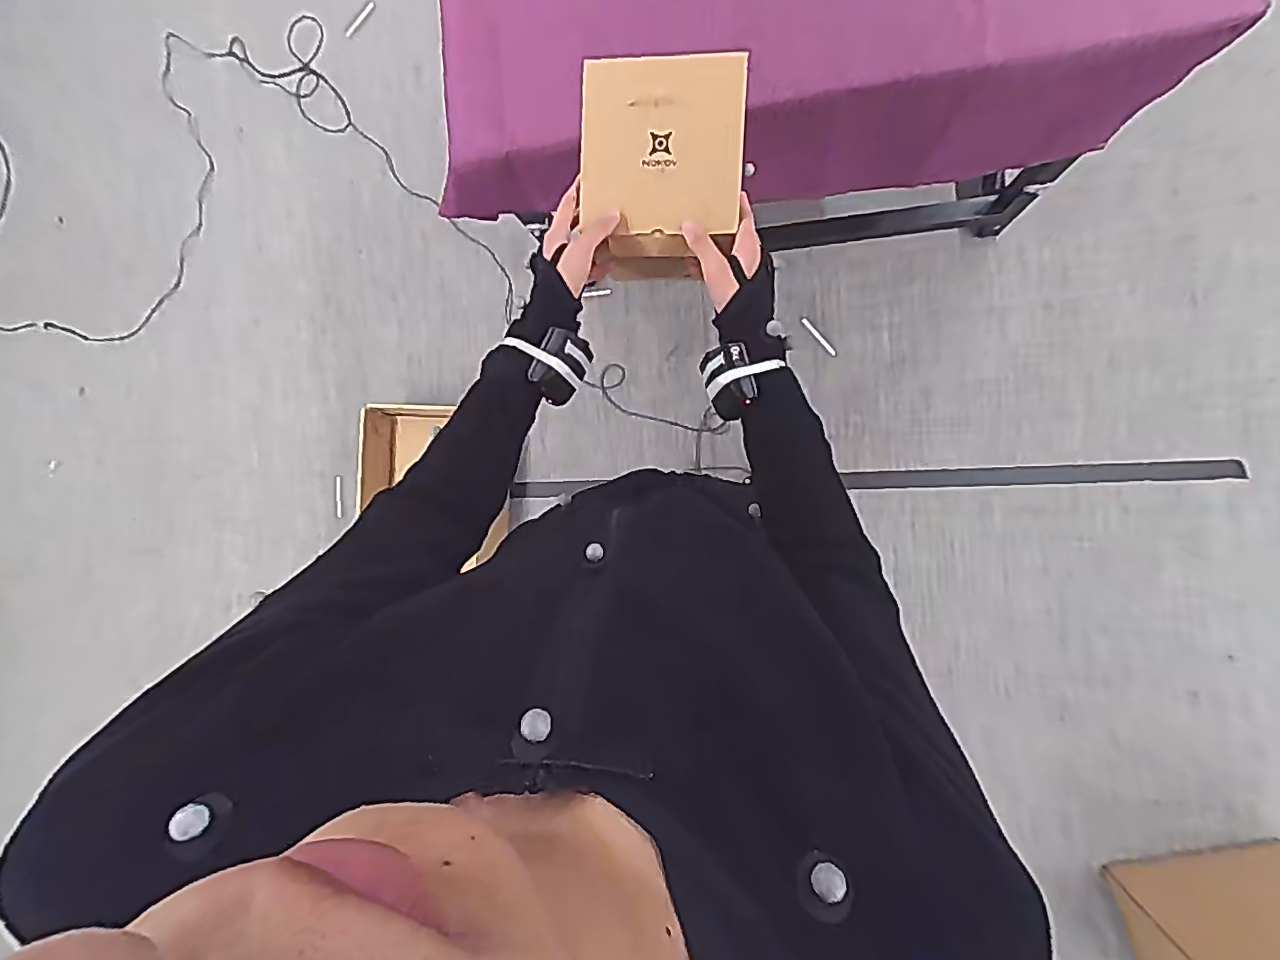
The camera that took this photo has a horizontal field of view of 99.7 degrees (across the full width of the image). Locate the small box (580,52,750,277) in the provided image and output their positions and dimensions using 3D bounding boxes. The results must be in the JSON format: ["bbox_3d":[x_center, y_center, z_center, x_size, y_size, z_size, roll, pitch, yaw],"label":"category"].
[{"bbox_3d":[0.033,-0.341,0.621,0.168,0.176,0.179,3,96,7],"label":"small box"}]
